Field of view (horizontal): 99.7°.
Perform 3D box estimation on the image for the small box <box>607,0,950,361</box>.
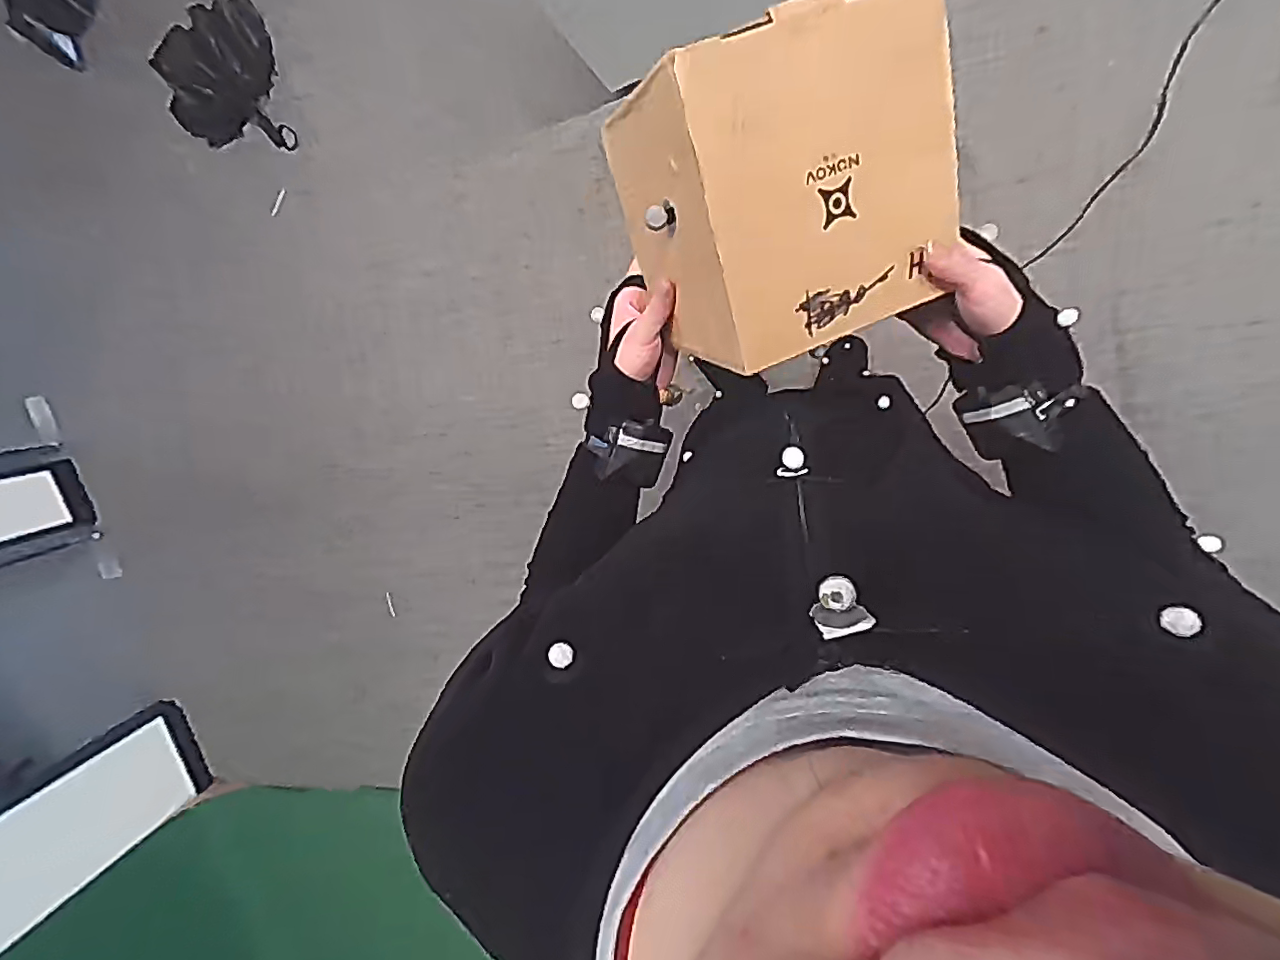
[{"bbox_3d":[0.088,-0.206,0.391,0.168,0.176,0.179,-22,116,-6],"label":"small box"}]
